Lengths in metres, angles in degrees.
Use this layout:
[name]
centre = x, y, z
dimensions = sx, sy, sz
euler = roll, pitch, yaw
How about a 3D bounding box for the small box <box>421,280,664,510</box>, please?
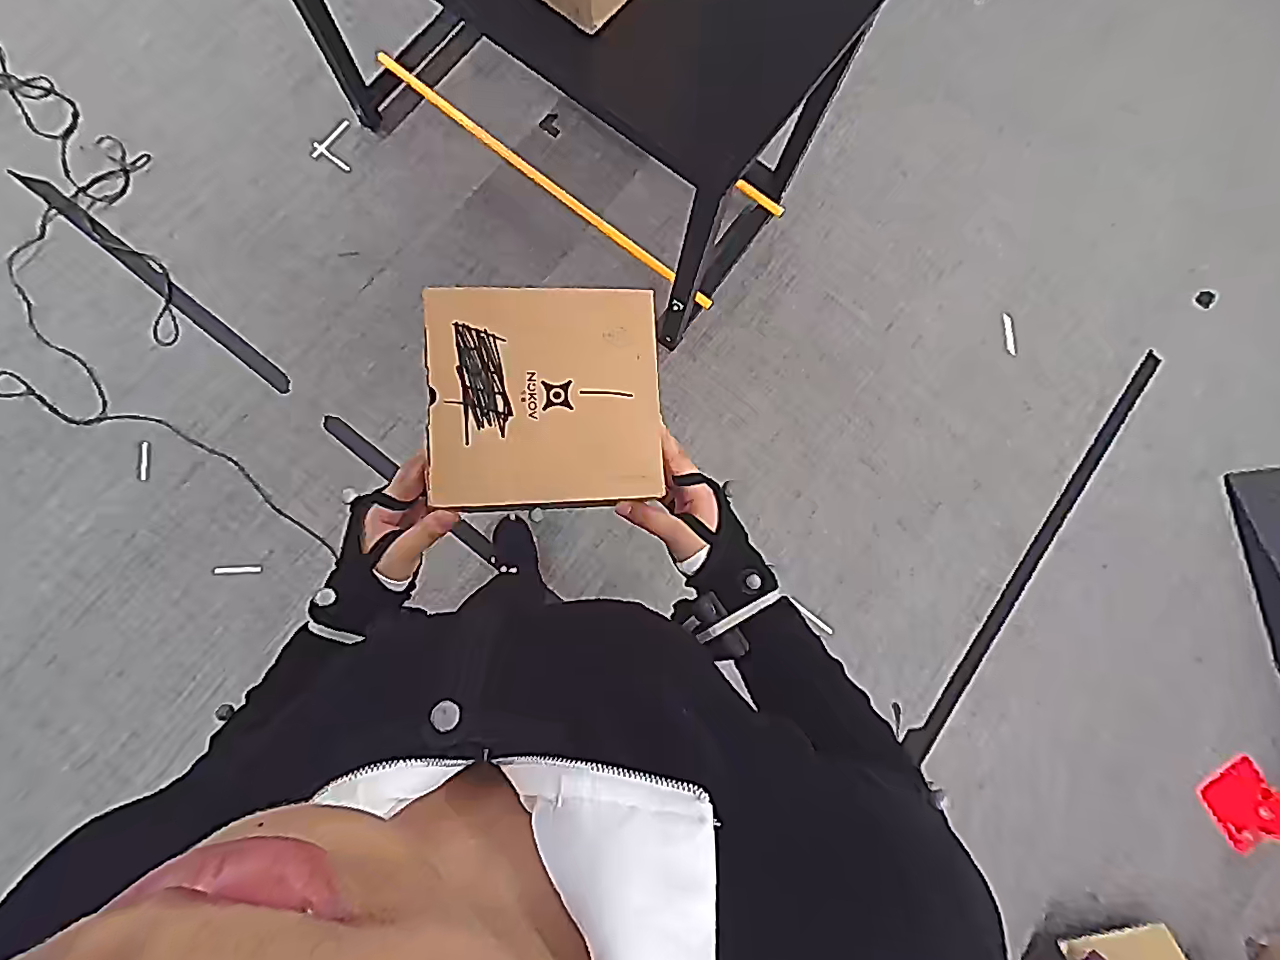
[small box]
centre = -0.081, -0.060, 0.479
dimensions = 0.179, 0.176, 0.168
euler = -2, 86, -9
